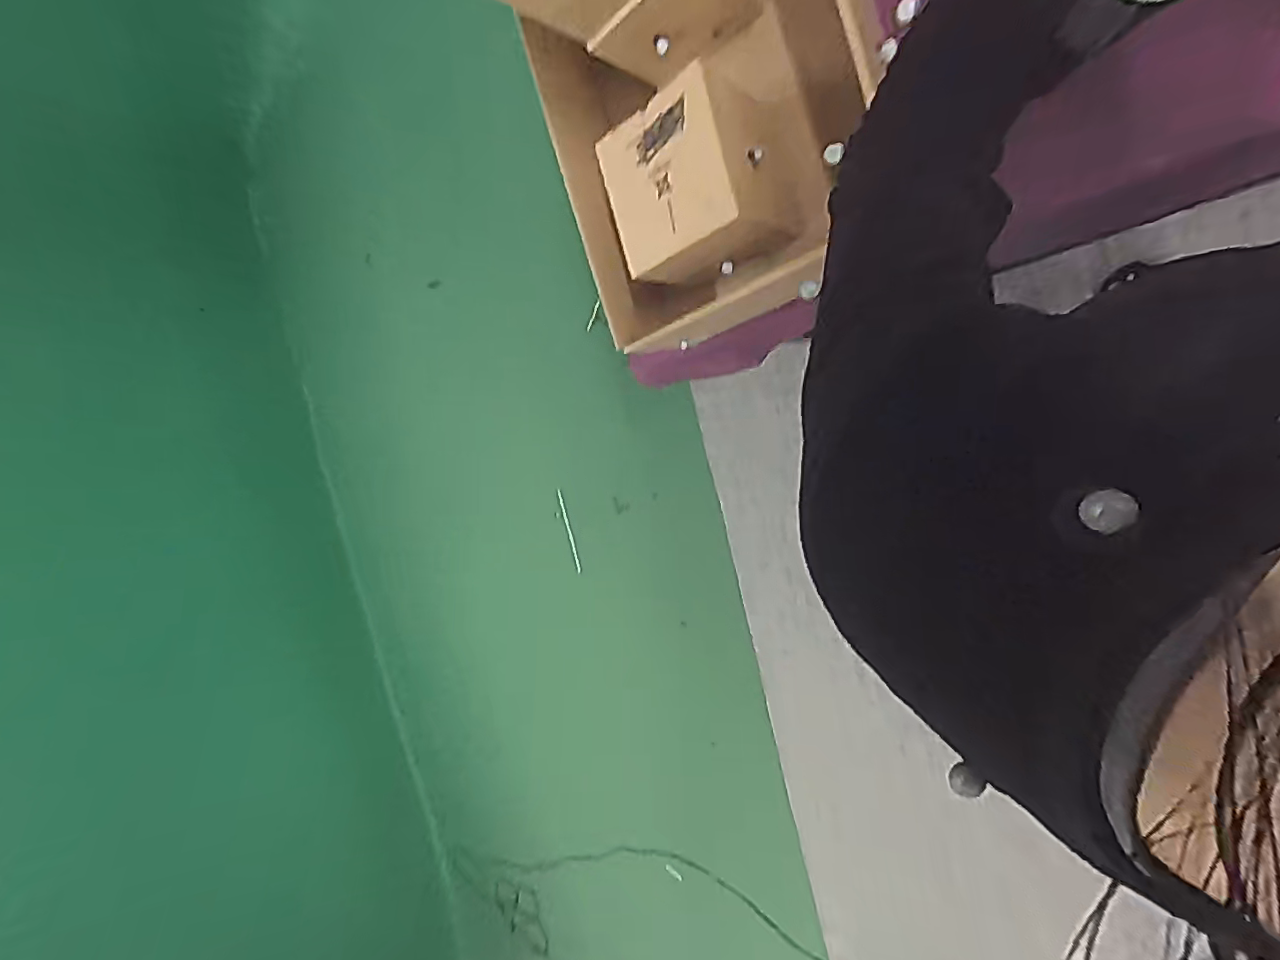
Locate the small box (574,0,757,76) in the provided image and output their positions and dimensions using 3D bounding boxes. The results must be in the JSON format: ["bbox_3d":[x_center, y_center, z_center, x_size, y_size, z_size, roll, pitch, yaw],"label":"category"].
[{"bbox_3d":[0.024,-0.645,0.670,0.168,0.176,0.179,-10,96,42],"label":"small box"}]
